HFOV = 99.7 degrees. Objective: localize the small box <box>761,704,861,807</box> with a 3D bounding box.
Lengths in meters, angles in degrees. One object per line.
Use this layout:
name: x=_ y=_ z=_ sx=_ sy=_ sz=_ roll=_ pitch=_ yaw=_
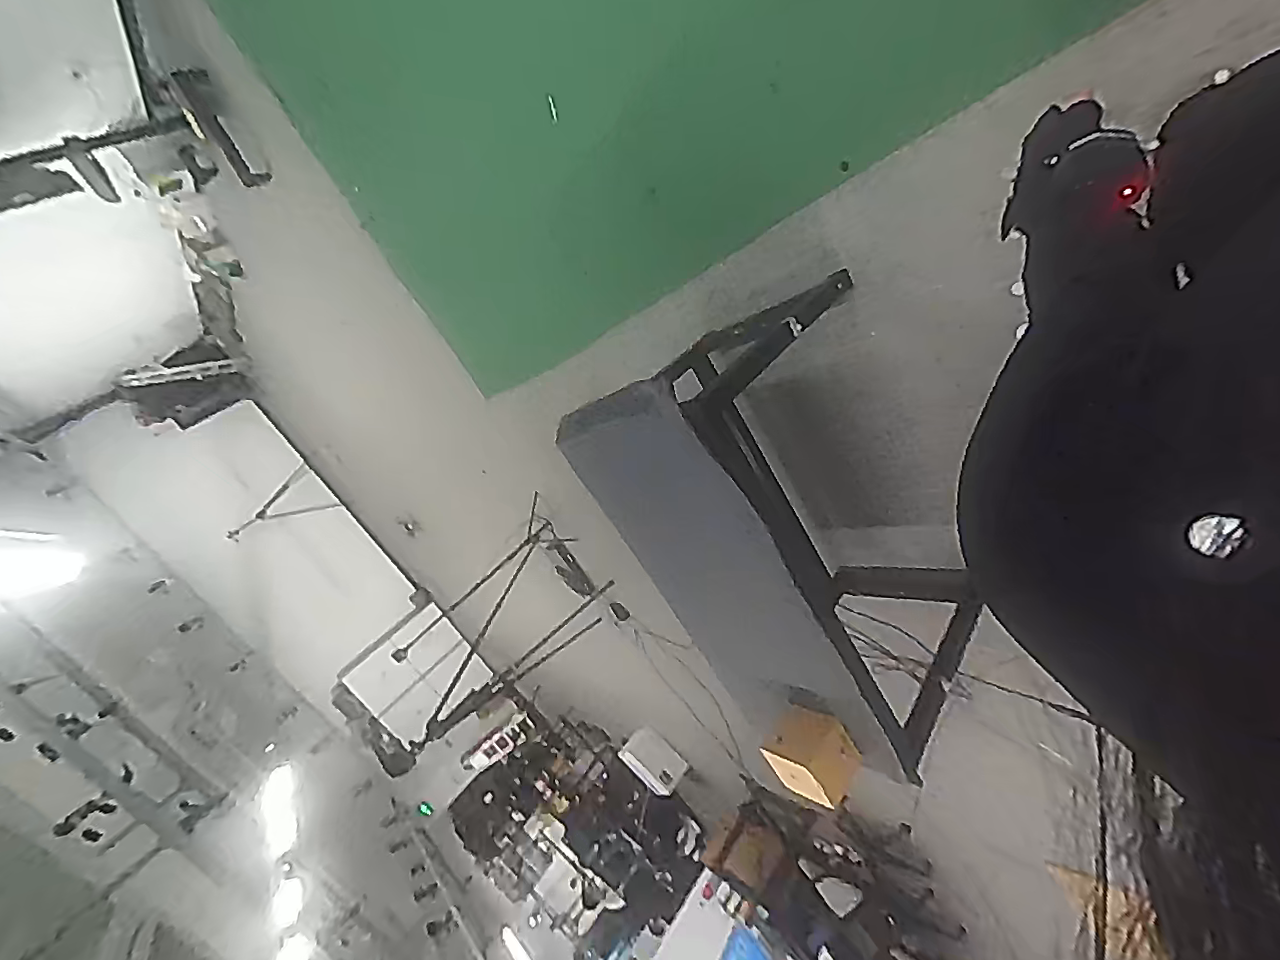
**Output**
small box: x=0.484 y=0.763 z=1.521 sx=0.179 sy=0.176 sz=0.168 roll=-11 pitch=116 yaw=56
